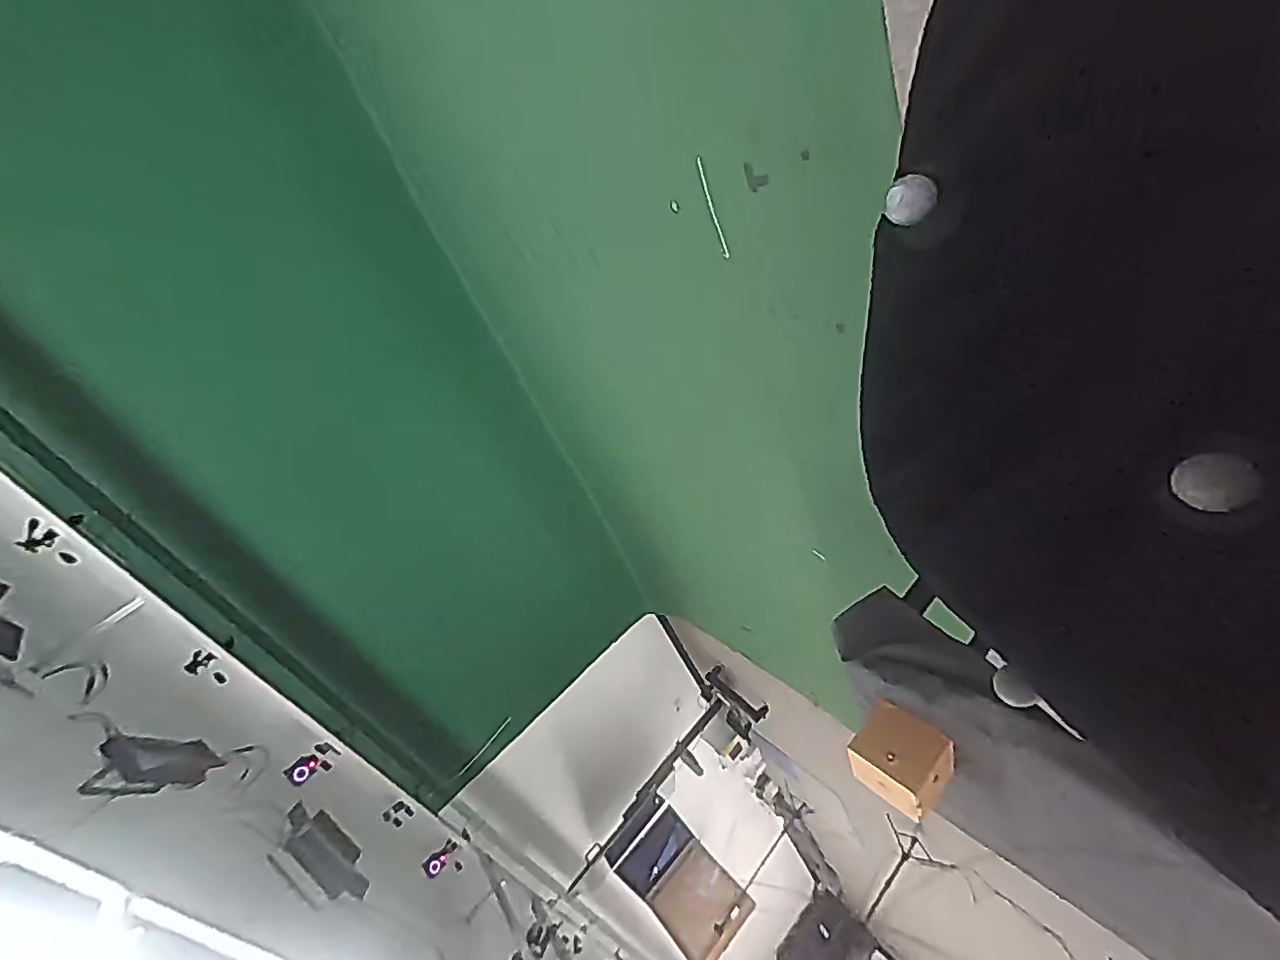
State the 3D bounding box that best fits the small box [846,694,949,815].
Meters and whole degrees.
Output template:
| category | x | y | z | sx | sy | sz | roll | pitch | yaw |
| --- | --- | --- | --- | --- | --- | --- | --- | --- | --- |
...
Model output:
| category | x | y | z | sx | sy | sz | roll | pitch | yaw |
| --- | --- | --- | --- | --- | --- | --- | --- | --- | --- |
| small box | 0.642 | 0.672 | 1.340 | 0.179 | 0.176 | 0.168 | 25 | 147 | 48 |
